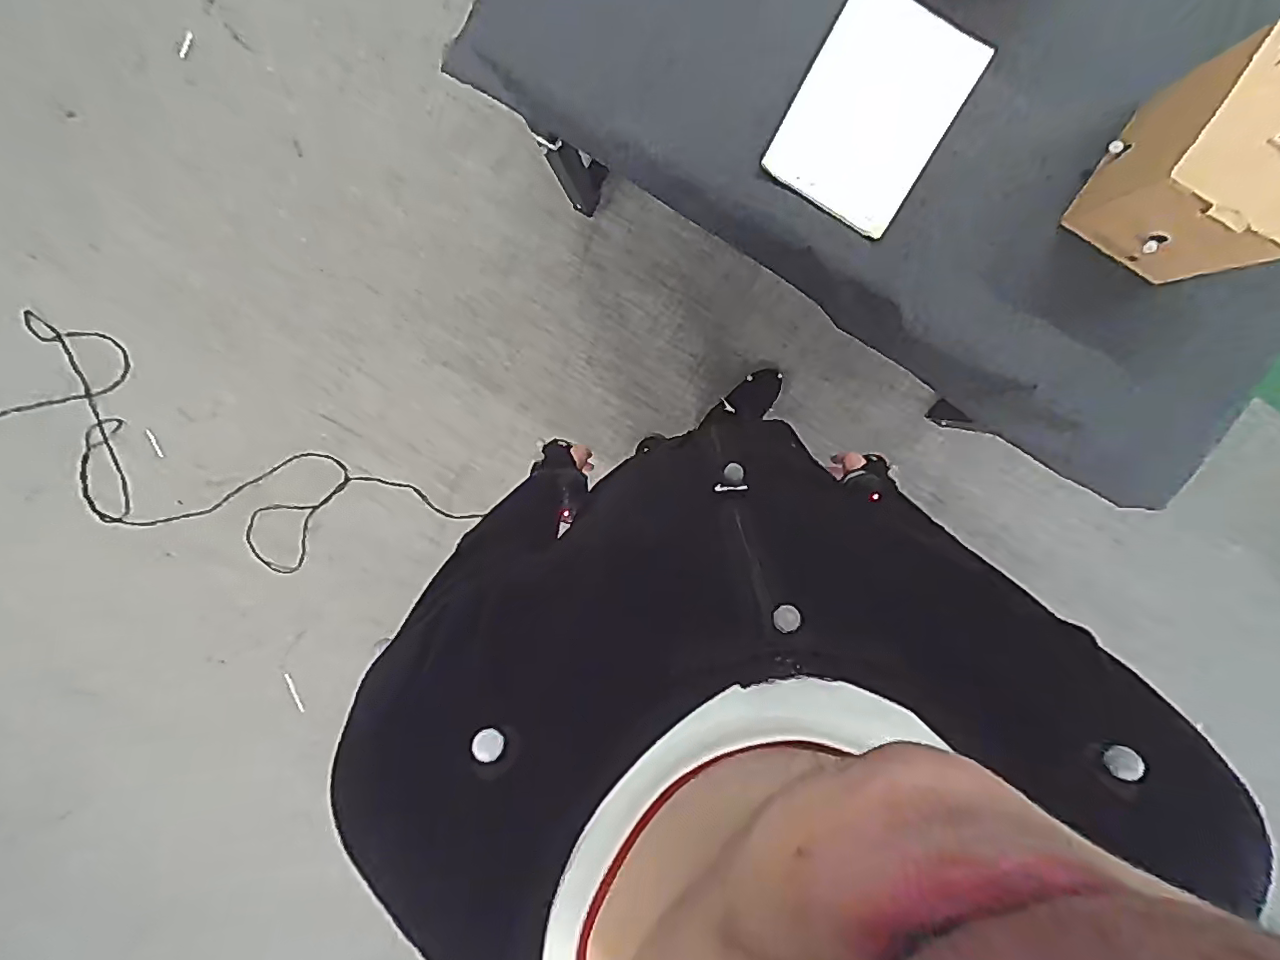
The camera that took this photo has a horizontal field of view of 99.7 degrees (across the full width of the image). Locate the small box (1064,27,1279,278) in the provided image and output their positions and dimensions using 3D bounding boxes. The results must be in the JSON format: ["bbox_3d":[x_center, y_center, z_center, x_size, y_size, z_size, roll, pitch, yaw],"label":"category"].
[{"bbox_3d":[0.672,-0.370,0.654,0.168,0.176,0.179,30,101,-3],"label":"small box"}]
